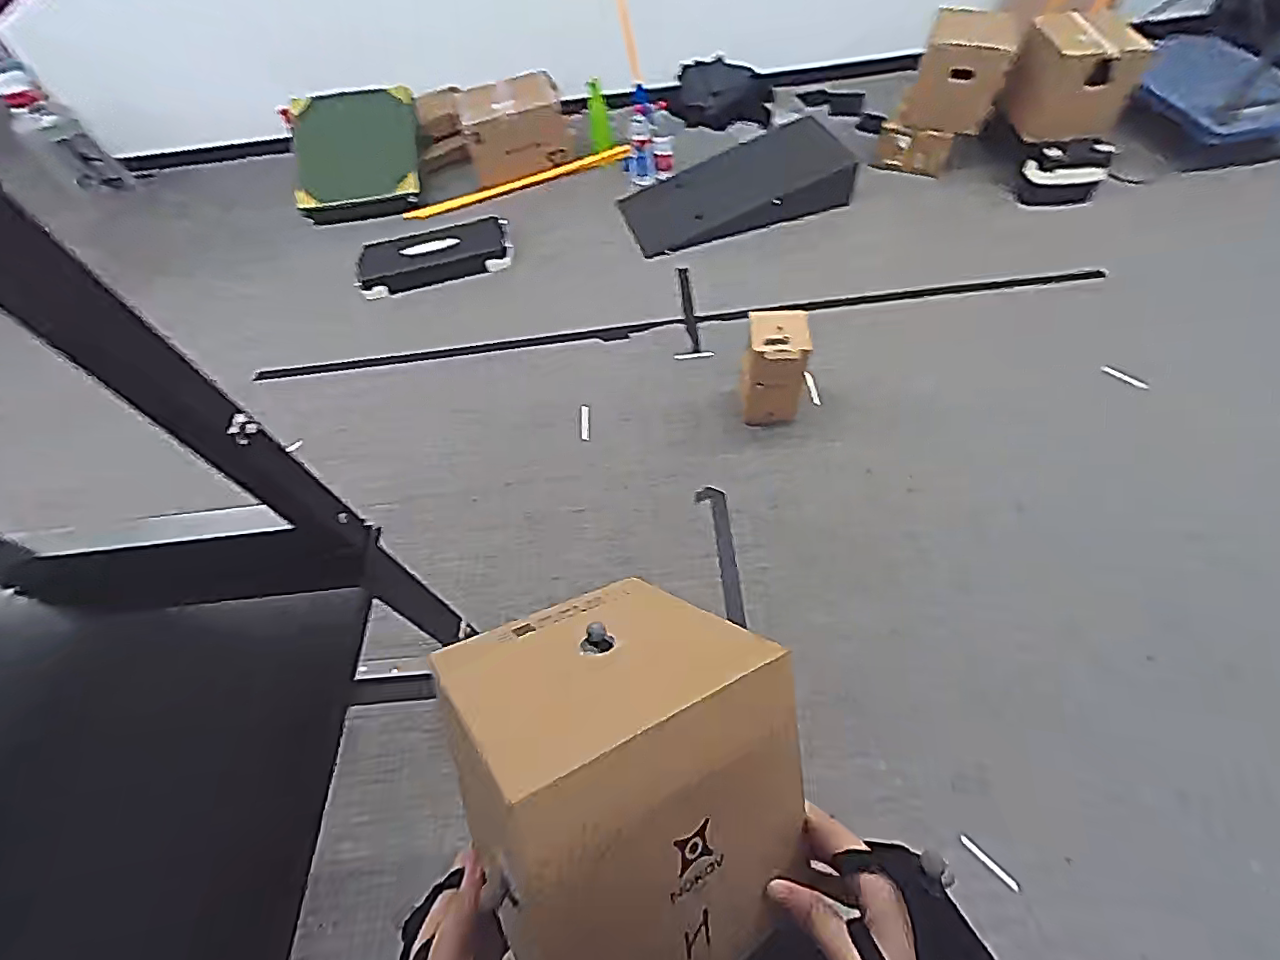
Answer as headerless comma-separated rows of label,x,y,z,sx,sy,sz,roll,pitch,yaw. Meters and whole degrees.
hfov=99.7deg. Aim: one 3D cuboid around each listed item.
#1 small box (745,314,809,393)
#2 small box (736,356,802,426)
small box,0.411,-0.381,1.649,0.168,0.176,0.179,0,56,5
small box,0.419,-0.294,1.790,0.179,0.176,0.168,-3,56,2
